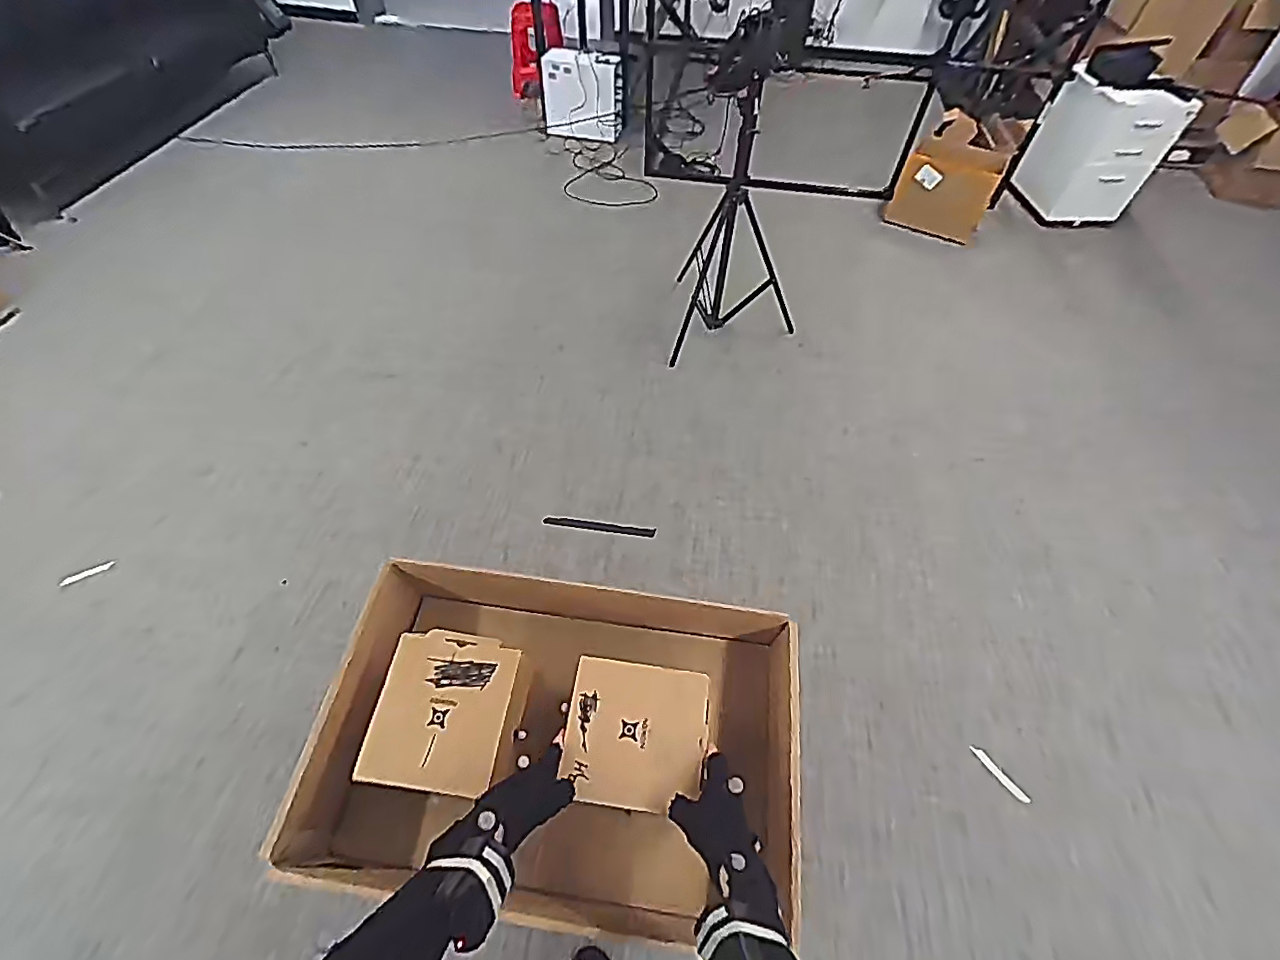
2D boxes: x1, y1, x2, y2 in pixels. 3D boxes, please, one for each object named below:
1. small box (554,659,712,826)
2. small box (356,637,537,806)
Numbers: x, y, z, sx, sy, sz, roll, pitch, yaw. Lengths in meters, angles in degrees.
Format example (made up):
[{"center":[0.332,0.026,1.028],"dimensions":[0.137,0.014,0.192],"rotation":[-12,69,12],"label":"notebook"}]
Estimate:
[{"center":[-0.004,0.357,0.732],"dimensions":[0.179,0.176,0.168],"rotation":[7,58,4],"label":"small box"},{"center":[-0.246,0.334,0.741],"dimensions":[0.168,0.176,0.179],"rotation":[7,59,3],"label":"small box"}]
